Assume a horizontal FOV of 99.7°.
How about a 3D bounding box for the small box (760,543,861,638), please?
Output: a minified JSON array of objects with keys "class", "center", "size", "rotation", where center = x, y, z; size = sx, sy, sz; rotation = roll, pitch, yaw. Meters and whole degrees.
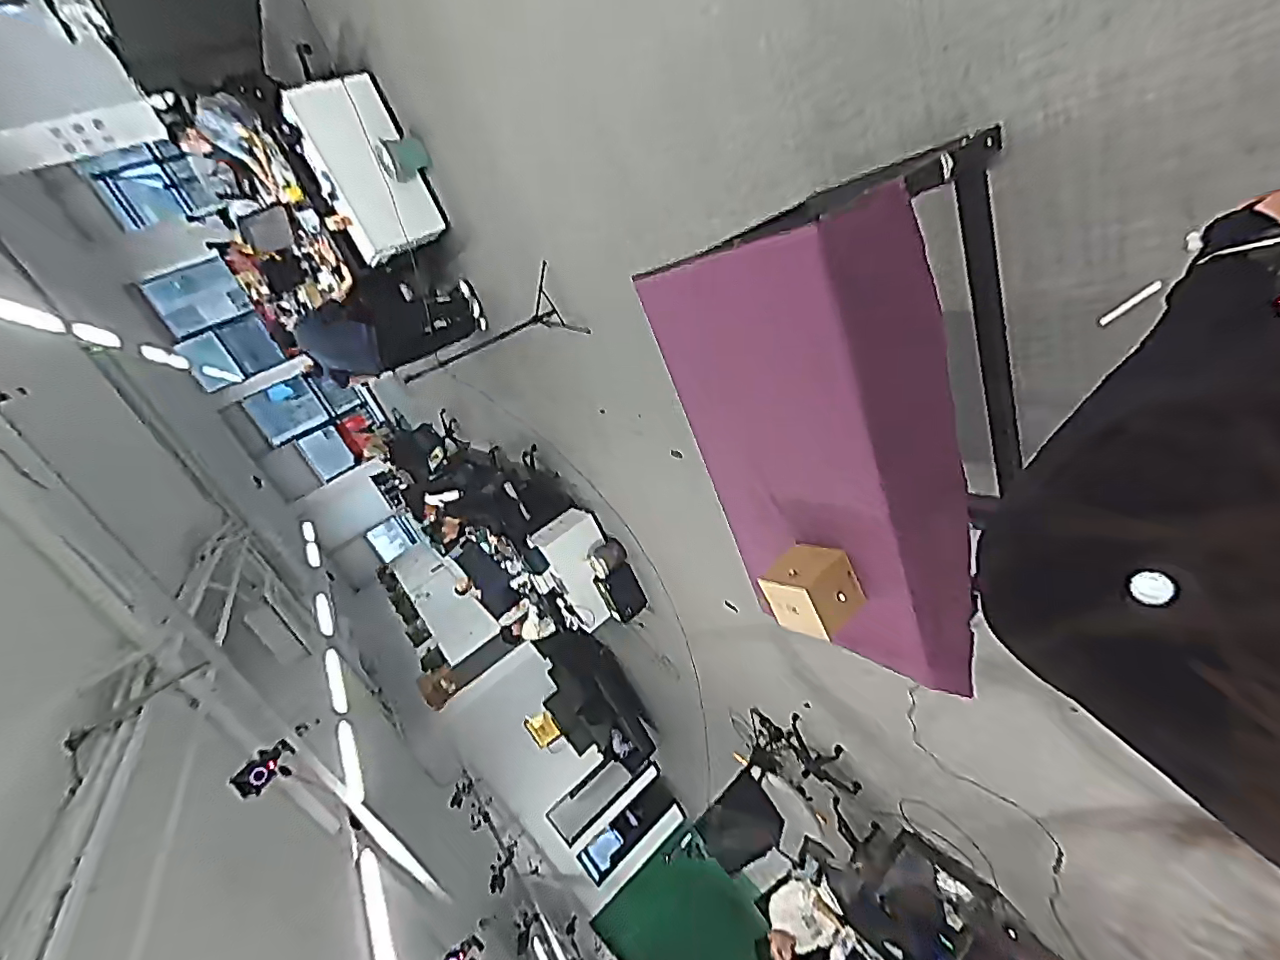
[{"class":"small box","center":[0.461,0.285,1.442],"size":[0.179,0.176,0.168],"rotation":[1,122,61]}]
